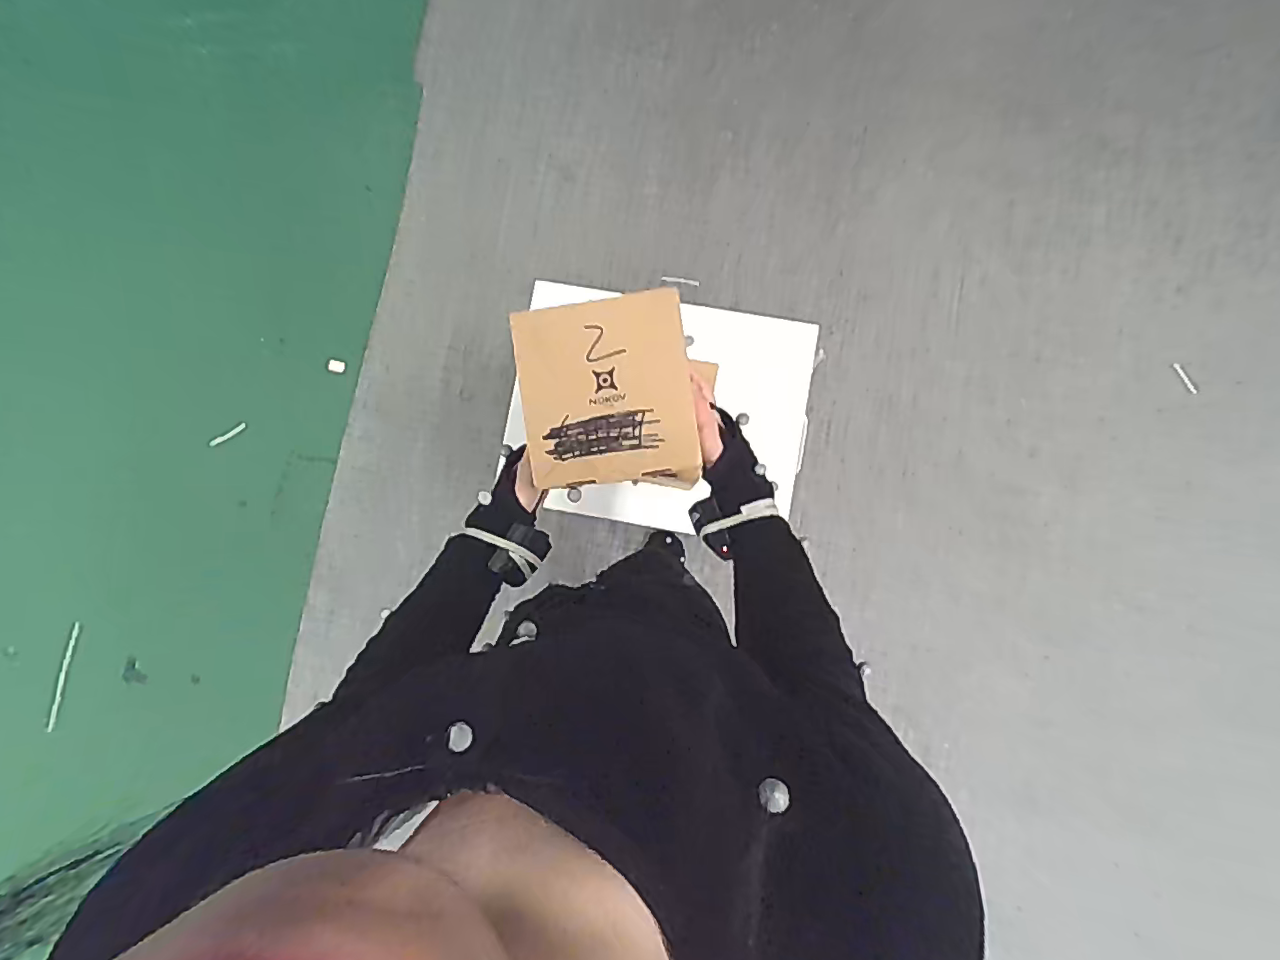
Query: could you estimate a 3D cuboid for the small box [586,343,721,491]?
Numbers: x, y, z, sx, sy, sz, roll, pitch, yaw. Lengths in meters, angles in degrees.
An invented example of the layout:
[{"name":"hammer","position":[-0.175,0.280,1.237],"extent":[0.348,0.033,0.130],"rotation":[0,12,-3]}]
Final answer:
[{"name":"small box","position":[0.021,-0.087,0.834],"extent":[0.168,0.176,0.179],"rotation":[10,85,3]}]
